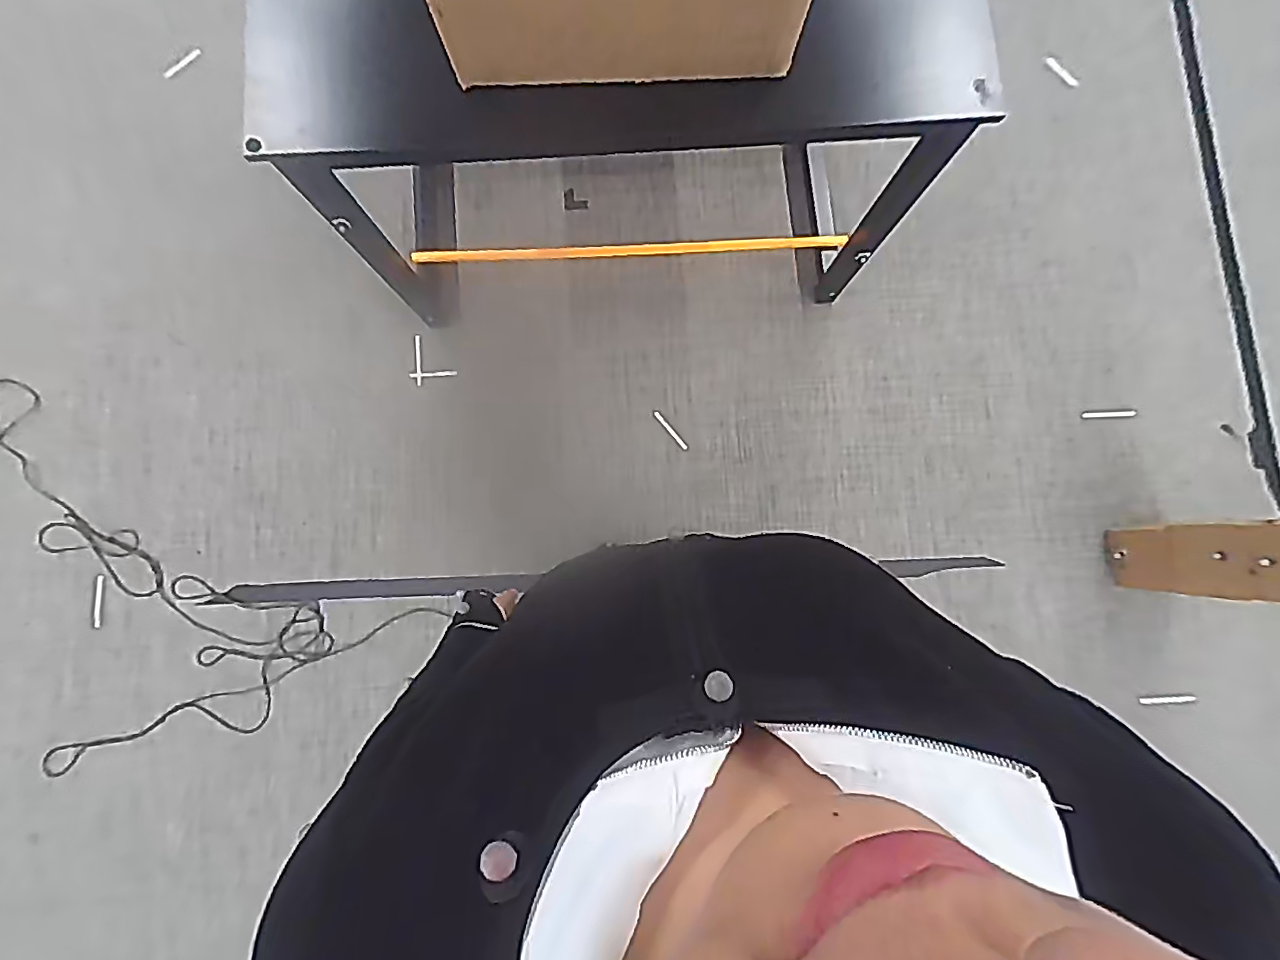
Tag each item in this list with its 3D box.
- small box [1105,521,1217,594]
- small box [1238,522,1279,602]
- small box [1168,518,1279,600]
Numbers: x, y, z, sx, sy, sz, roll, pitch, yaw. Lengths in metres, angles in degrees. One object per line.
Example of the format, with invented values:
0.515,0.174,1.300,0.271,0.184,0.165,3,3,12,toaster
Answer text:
1.406,0.202,1.439,0.179,0.176,0.168,-8,83,0,small box
1.412,0.169,1.112,0.179,0.176,0.168,-1,83,0,small box
1.408,0.184,1.276,0.168,0.176,0.179,-4,84,-1,small box
